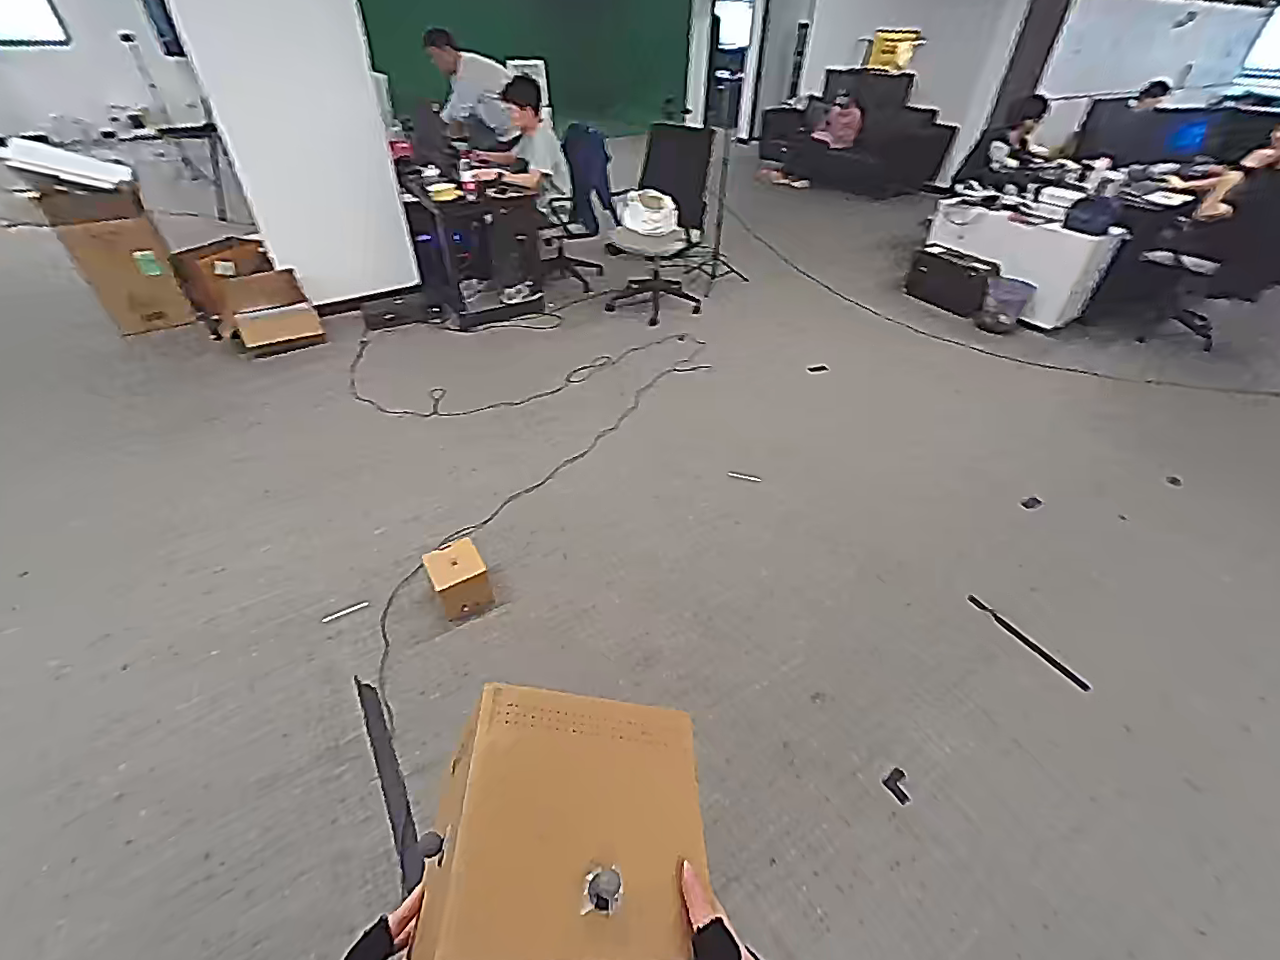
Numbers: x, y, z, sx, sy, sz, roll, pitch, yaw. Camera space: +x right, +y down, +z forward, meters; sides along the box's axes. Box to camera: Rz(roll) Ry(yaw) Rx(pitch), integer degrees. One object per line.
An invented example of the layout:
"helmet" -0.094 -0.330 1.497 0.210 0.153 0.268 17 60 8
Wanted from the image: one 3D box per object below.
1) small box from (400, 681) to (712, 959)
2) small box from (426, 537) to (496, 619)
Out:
"small box" -0.070 0.279 0.423 0.179 0.168 0.176 16 38 -18
"small box" -0.596 0.328 1.809 0.168 0.176 0.179 -22 46 -24
